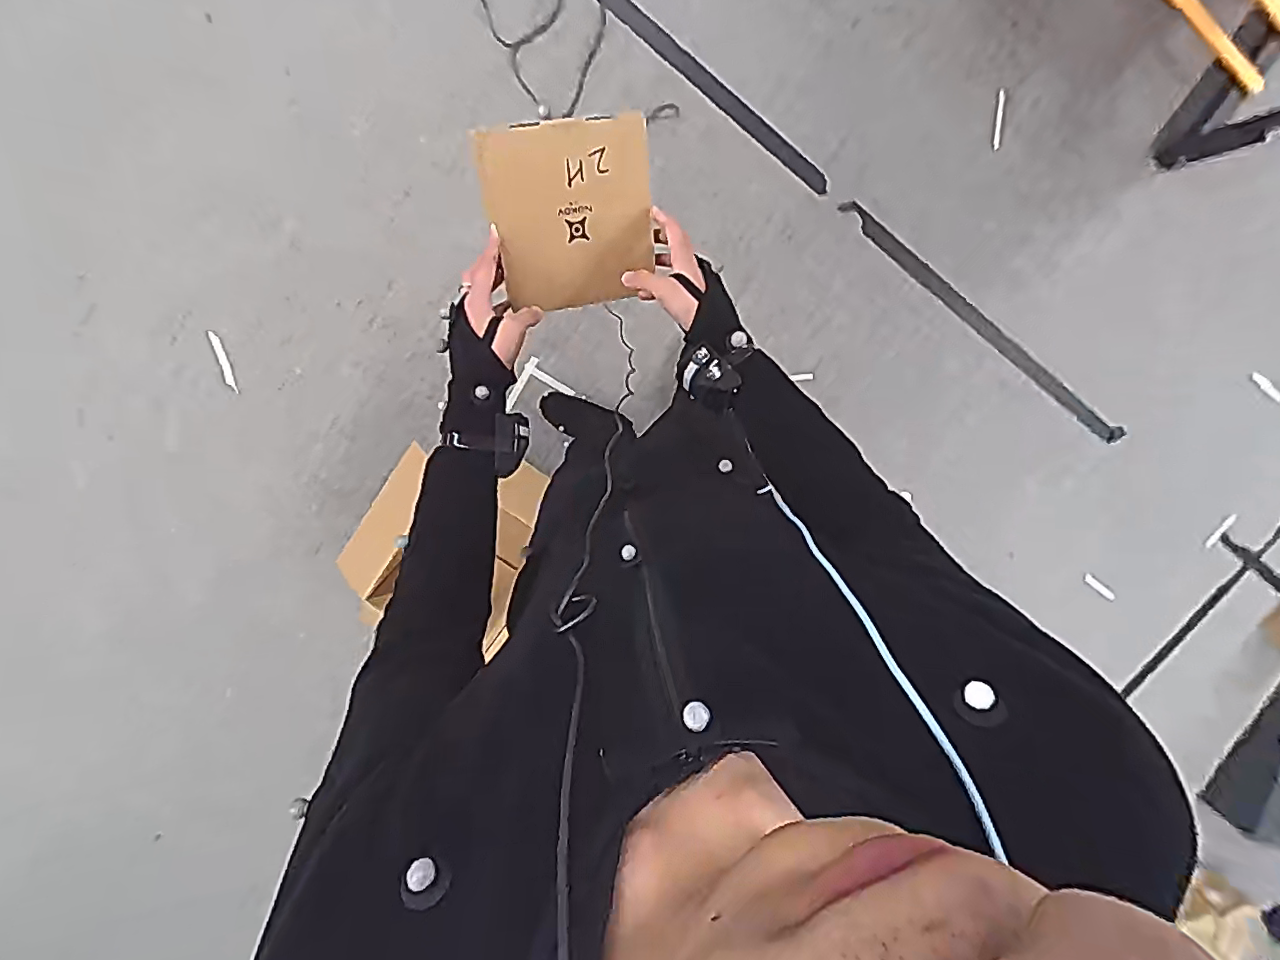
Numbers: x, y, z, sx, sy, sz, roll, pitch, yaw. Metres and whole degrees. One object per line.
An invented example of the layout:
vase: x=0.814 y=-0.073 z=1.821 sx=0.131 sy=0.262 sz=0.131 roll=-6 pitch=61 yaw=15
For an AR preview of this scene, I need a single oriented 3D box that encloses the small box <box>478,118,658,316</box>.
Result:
small box: x=-0.084 y=-0.307 z=0.622 sx=0.168 sy=0.176 sz=0.179 roll=-13 pitch=124 yaw=-13
